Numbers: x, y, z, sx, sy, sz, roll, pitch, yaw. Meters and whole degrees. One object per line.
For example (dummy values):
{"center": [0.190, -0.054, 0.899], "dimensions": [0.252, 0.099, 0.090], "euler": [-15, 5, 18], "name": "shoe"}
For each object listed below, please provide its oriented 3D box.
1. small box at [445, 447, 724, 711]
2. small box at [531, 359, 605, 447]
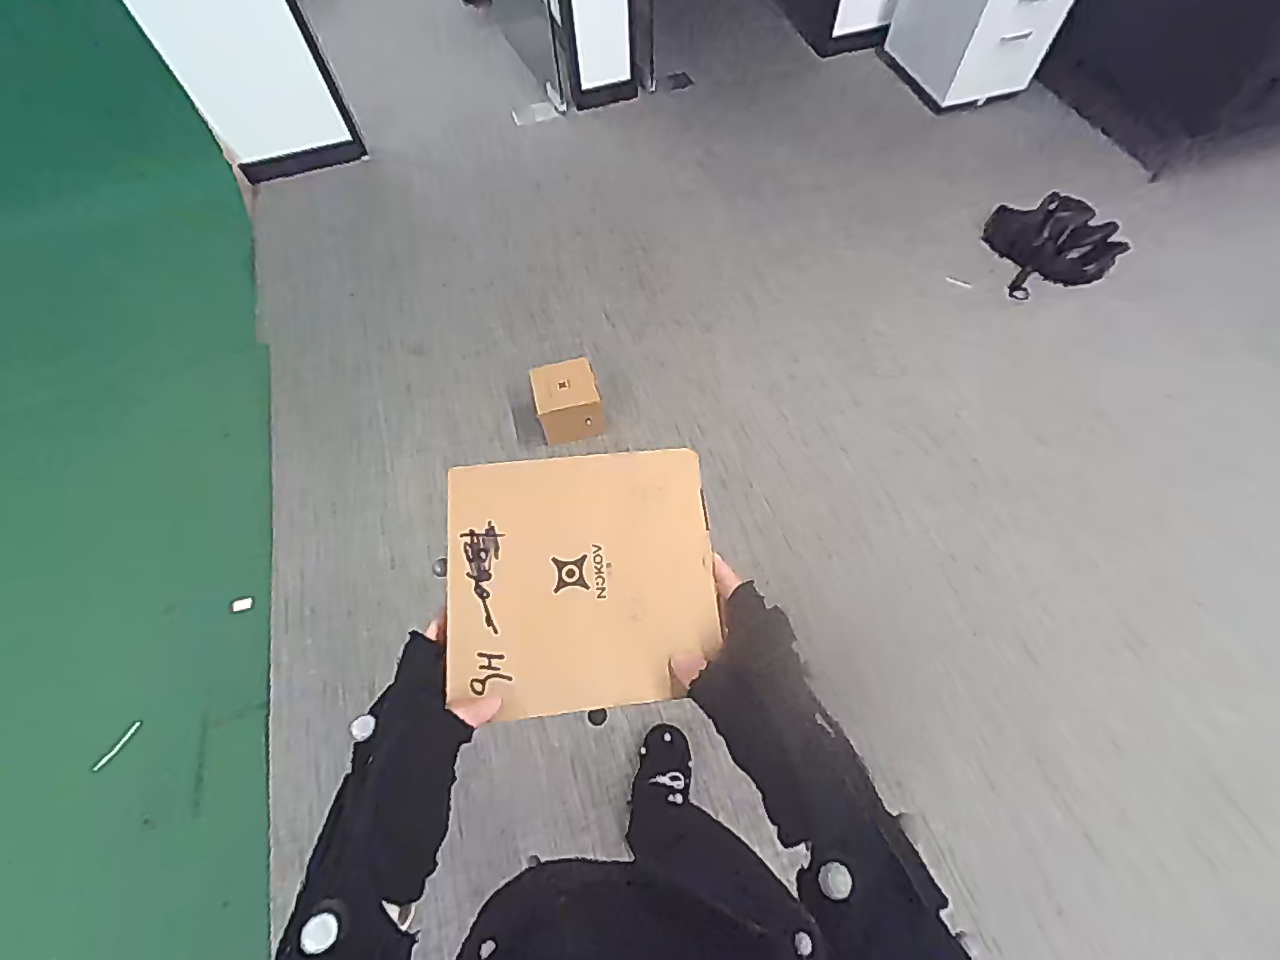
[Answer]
{"center": [-0.046, 0.083, 0.433], "dimensions": [0.179, 0.176, 0.168], "euler": [-4, 70, -6], "name": "small box"}
{"center": [-0.205, -0.221, 1.581], "dimensions": [0.179, 0.176, 0.168], "euler": [-15, 62, -4], "name": "small box"}
